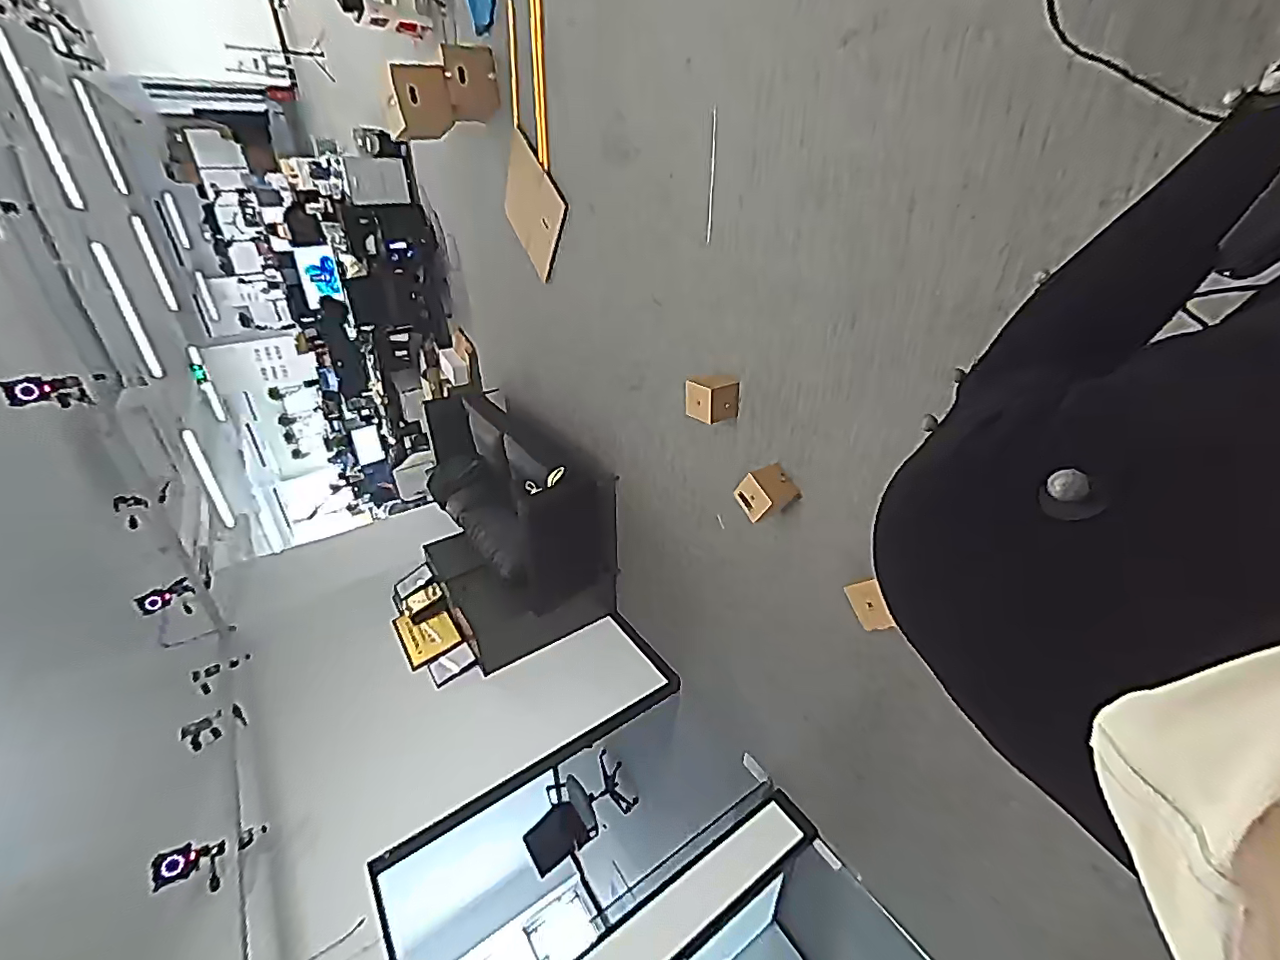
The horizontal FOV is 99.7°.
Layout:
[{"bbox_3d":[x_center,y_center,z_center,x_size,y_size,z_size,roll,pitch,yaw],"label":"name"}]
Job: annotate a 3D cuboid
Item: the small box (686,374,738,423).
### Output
[{"bbox_3d":[0.327,-0.374,2.445,0.179,0.176,0.168,33,133,48],"label":"small box"}]
